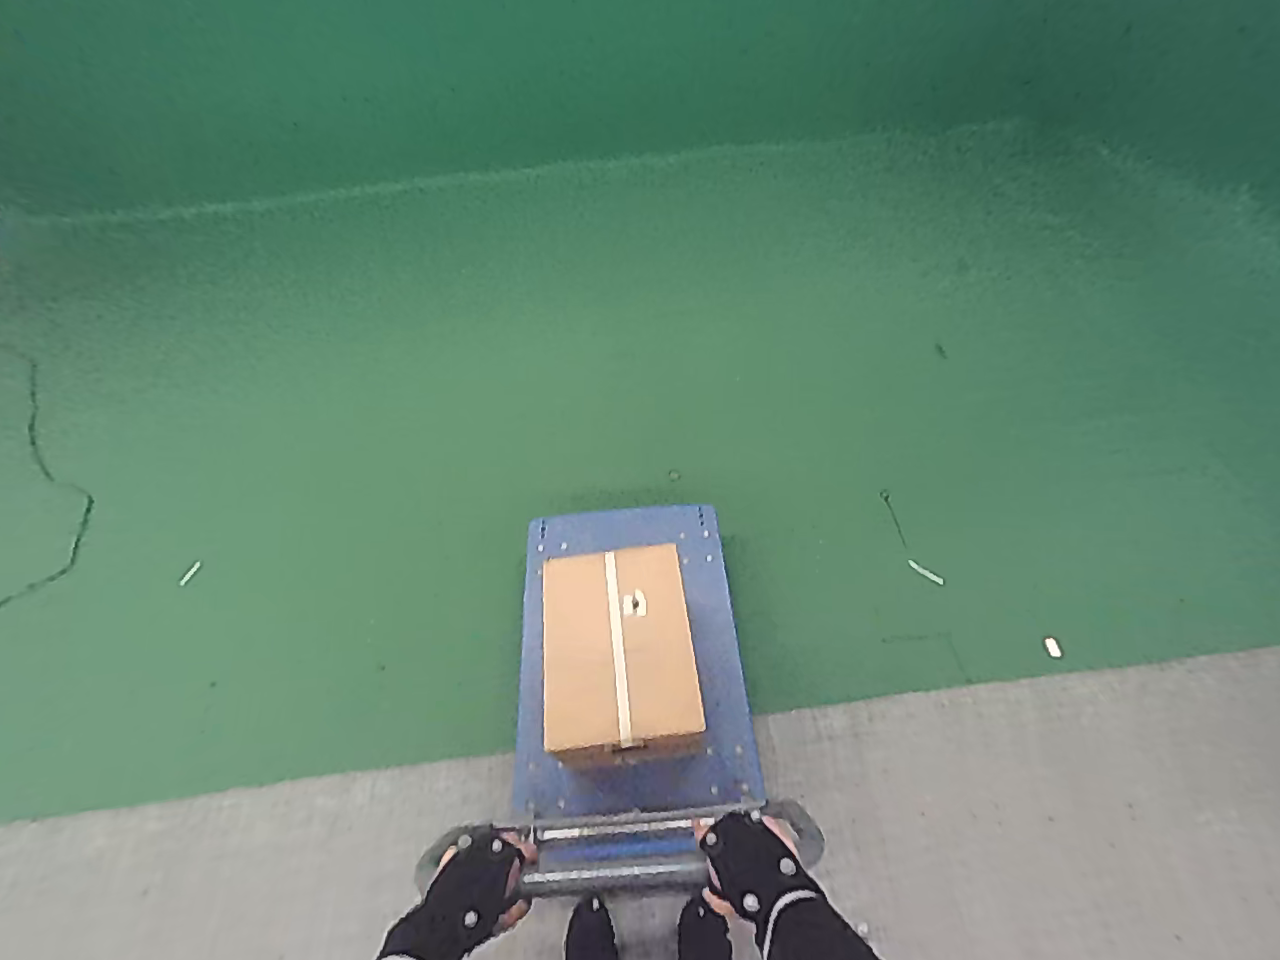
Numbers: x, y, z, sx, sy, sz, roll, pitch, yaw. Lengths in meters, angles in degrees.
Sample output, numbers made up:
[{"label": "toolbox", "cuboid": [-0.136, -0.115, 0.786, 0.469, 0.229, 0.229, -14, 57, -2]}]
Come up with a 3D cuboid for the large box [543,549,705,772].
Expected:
[{"label": "large box", "cuboid": [-0.038, 0.427, 1.267, 0.320, 0.320, 0.408, -7, 56, -1]}]
